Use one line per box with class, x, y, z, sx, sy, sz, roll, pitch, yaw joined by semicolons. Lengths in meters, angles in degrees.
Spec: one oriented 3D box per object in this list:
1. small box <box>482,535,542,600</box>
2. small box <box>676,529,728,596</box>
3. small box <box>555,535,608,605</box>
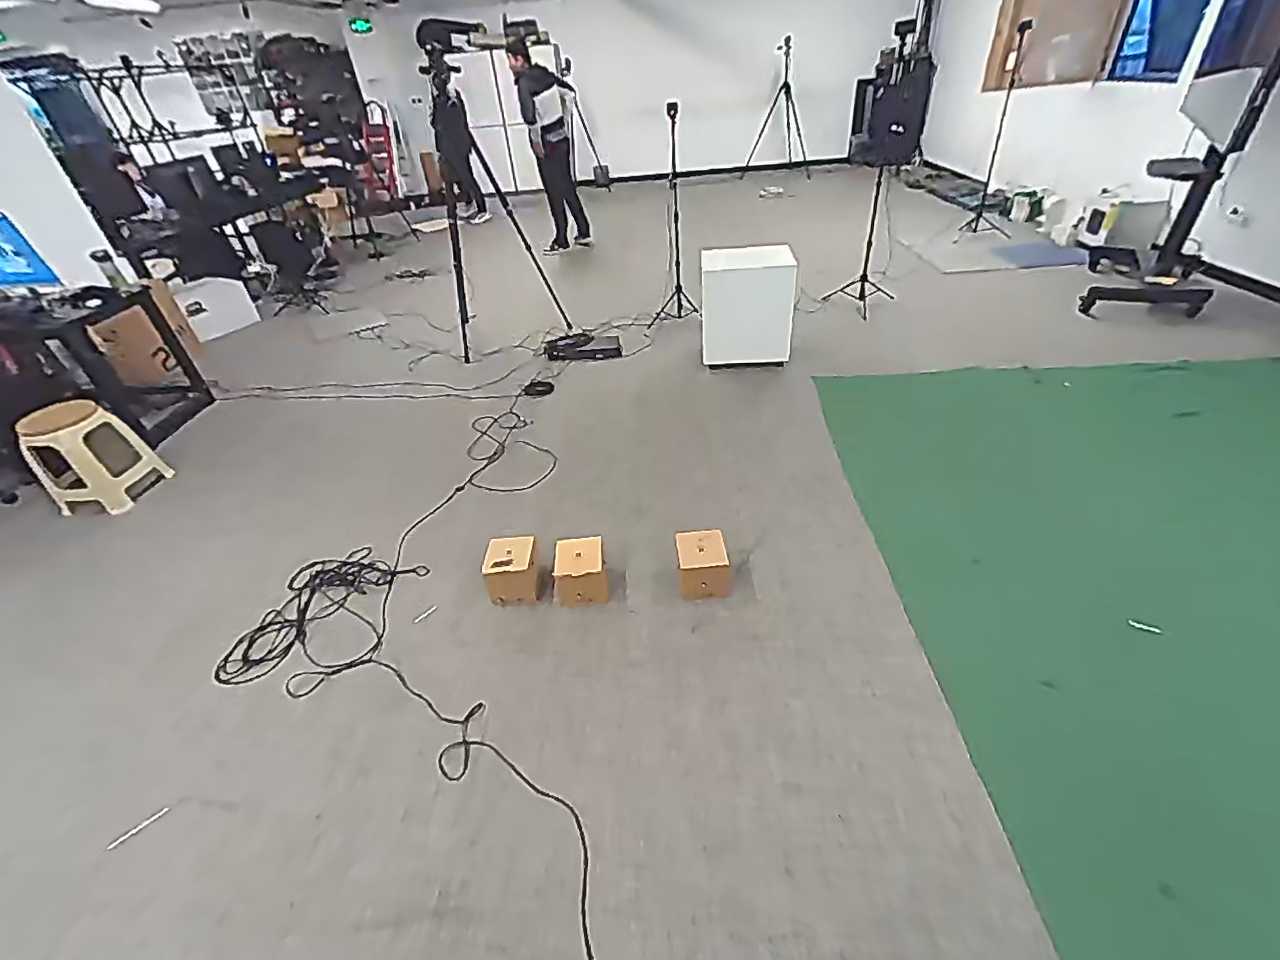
small box;-0.460;0.323;1.976;0.168;0.176;0.179;-4;37;2
small box;0.219;0.299;1.923;0.168;0.176;0.179;-4;38;0
small box;-0.206;0.324;1.944;0.168;0.176;0.179;-6;39;0
